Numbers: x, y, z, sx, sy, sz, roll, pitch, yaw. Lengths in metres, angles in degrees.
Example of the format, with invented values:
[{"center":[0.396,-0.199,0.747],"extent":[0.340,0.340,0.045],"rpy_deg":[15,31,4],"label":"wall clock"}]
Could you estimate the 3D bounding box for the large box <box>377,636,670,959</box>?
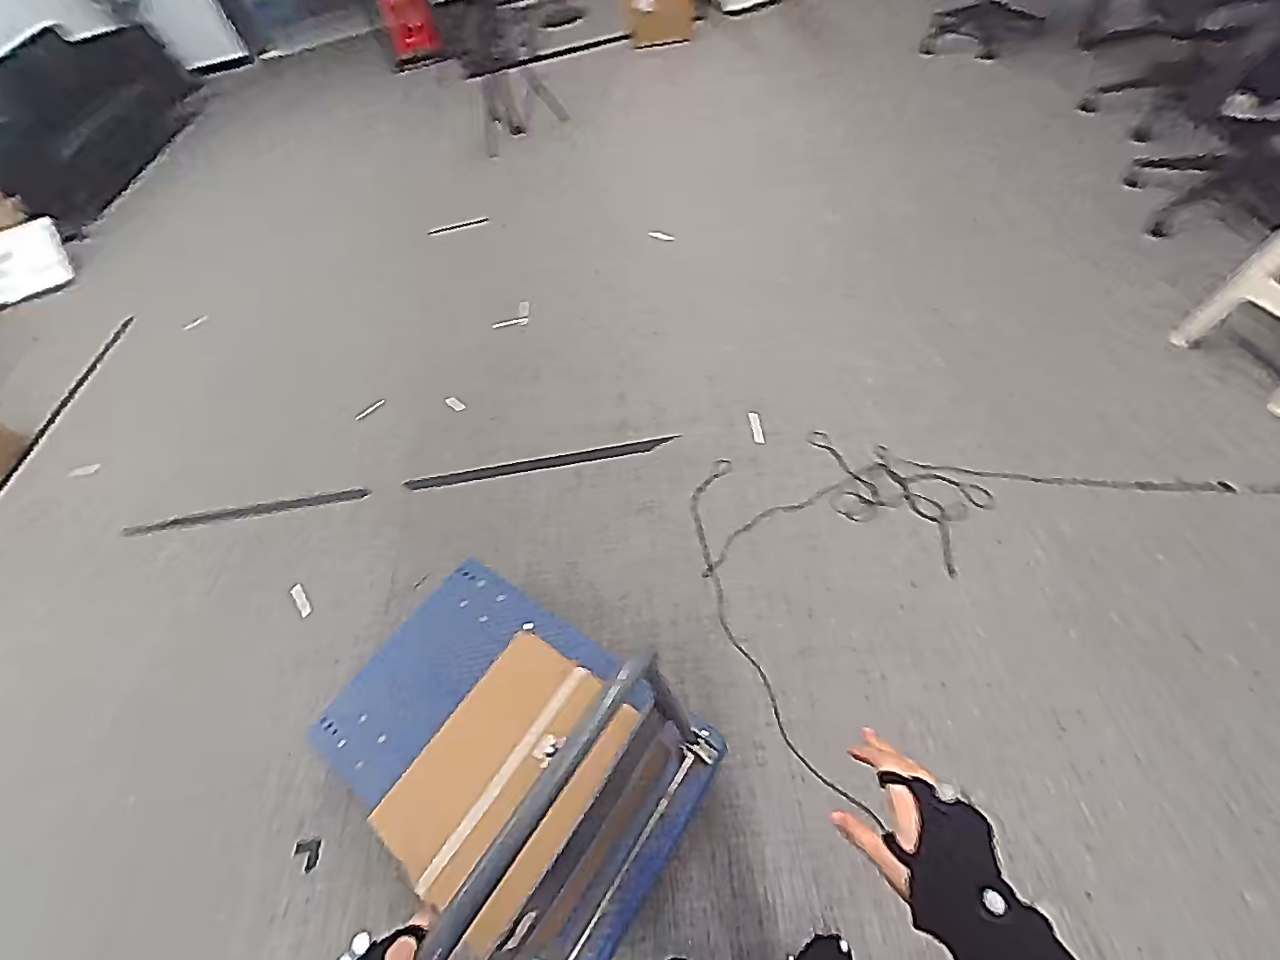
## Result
[{"center":[-0.191,0.593,1.038],"extent":[0.320,0.320,0.408],"rpy_deg":[28,64,27],"label":"large box"}]
